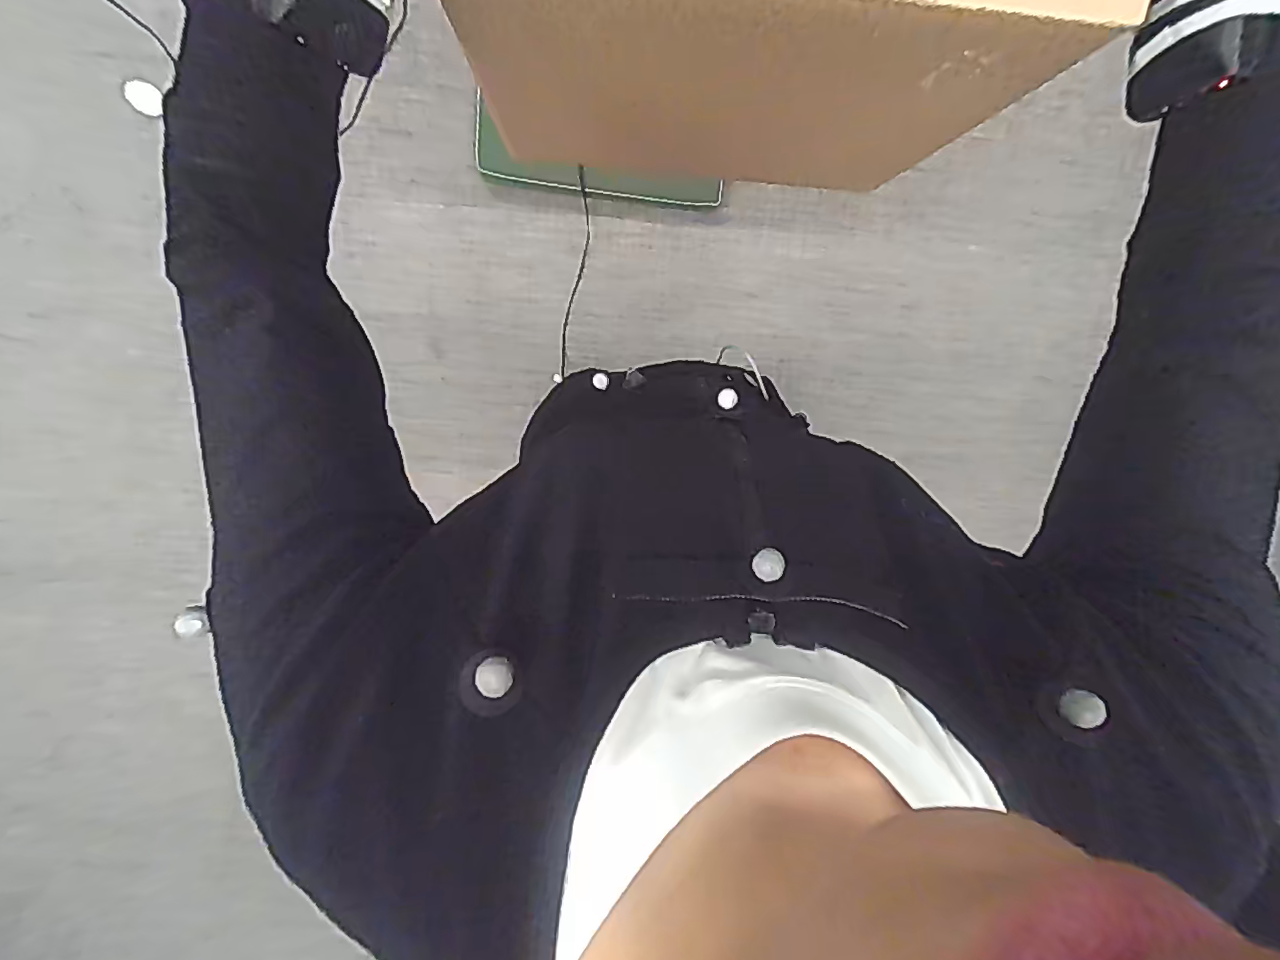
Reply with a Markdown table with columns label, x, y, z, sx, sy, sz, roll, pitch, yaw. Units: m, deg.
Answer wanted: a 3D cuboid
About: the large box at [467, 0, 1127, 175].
| label | x | y | z | sx | sy | sz | roll | pitch | yaw |
| --- | --- | --- | --- | --- | --- | --- | --- | --- | --- |
| large box | 0.083 | -0.460 | 0.411 | 0.408 | 0.320 | 0.320 | 2 | 103 | -6 |
